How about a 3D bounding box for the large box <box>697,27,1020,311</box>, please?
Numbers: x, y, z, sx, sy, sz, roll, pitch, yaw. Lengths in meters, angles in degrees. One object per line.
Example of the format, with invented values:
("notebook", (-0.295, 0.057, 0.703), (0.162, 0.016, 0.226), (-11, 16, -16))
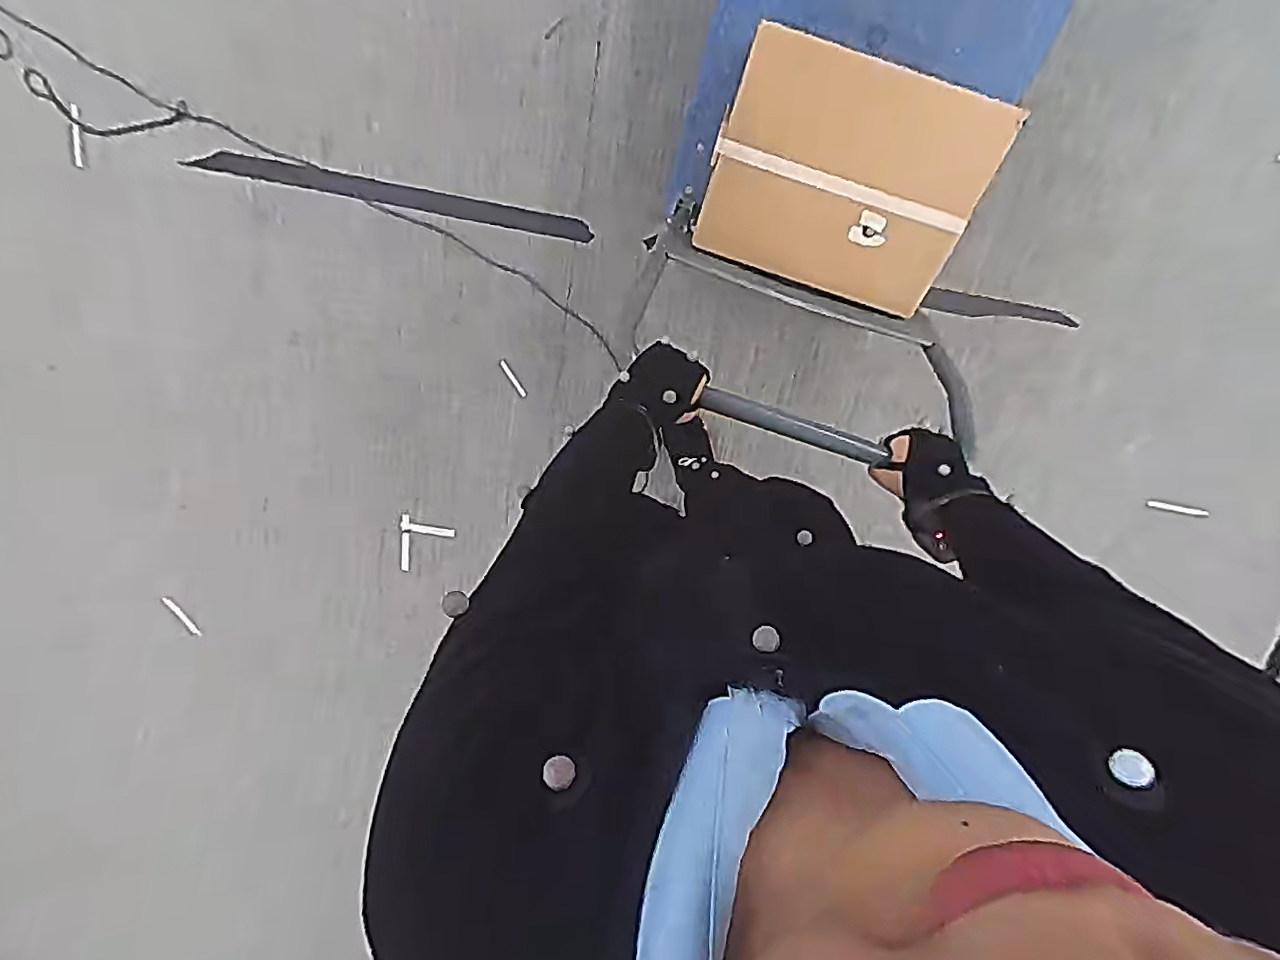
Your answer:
("large box", (0.346, -0.555, 0.984), (0.408, 0.320, 0.320), (18, 126, -2))
